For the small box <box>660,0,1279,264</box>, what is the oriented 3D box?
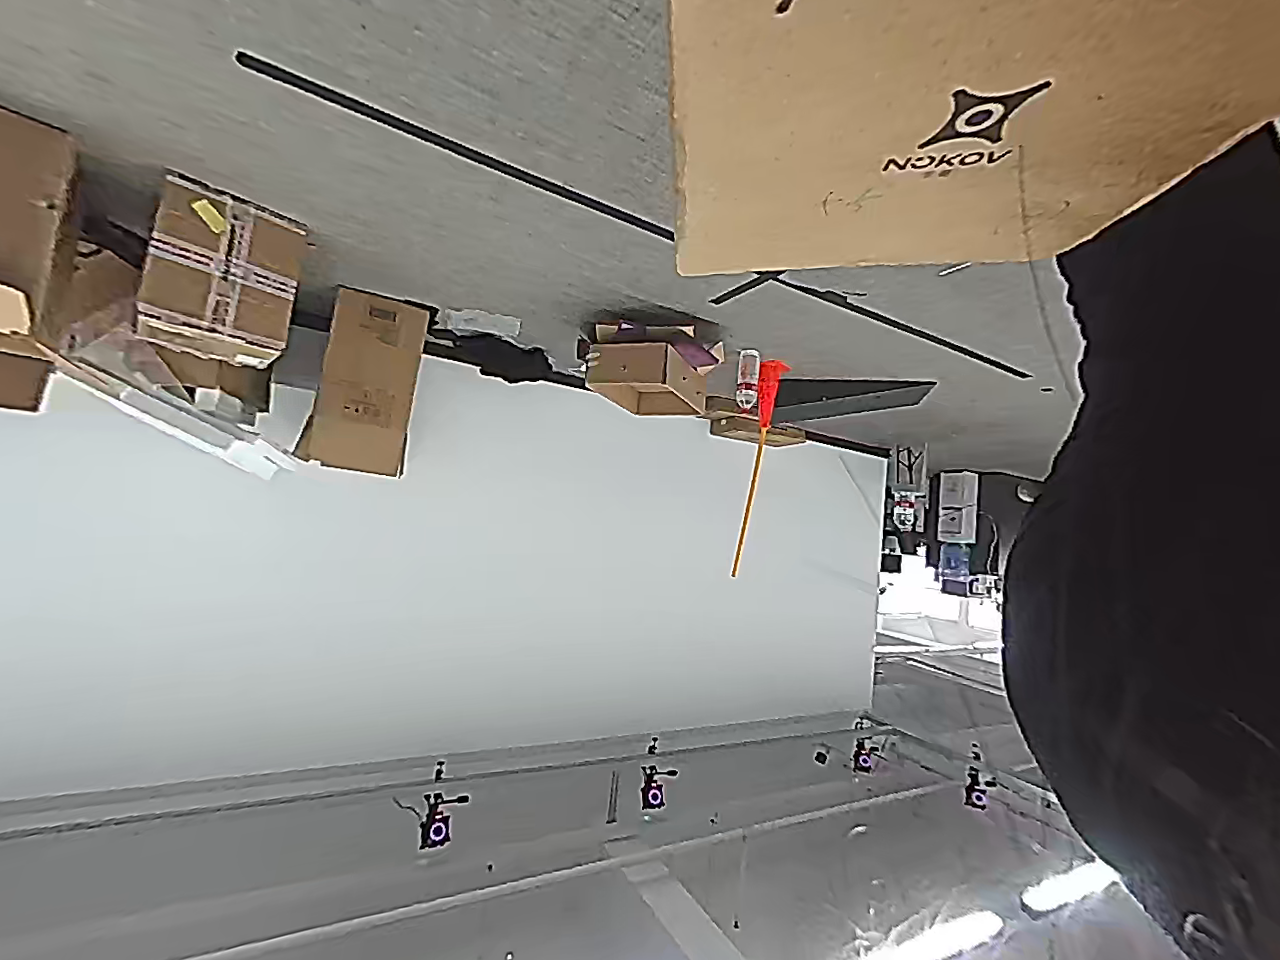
[{"bbox_3d":[0.088,-0.186,0.163,0.168,0.176,0.179,-3,178,4],"label":"small box"}]
